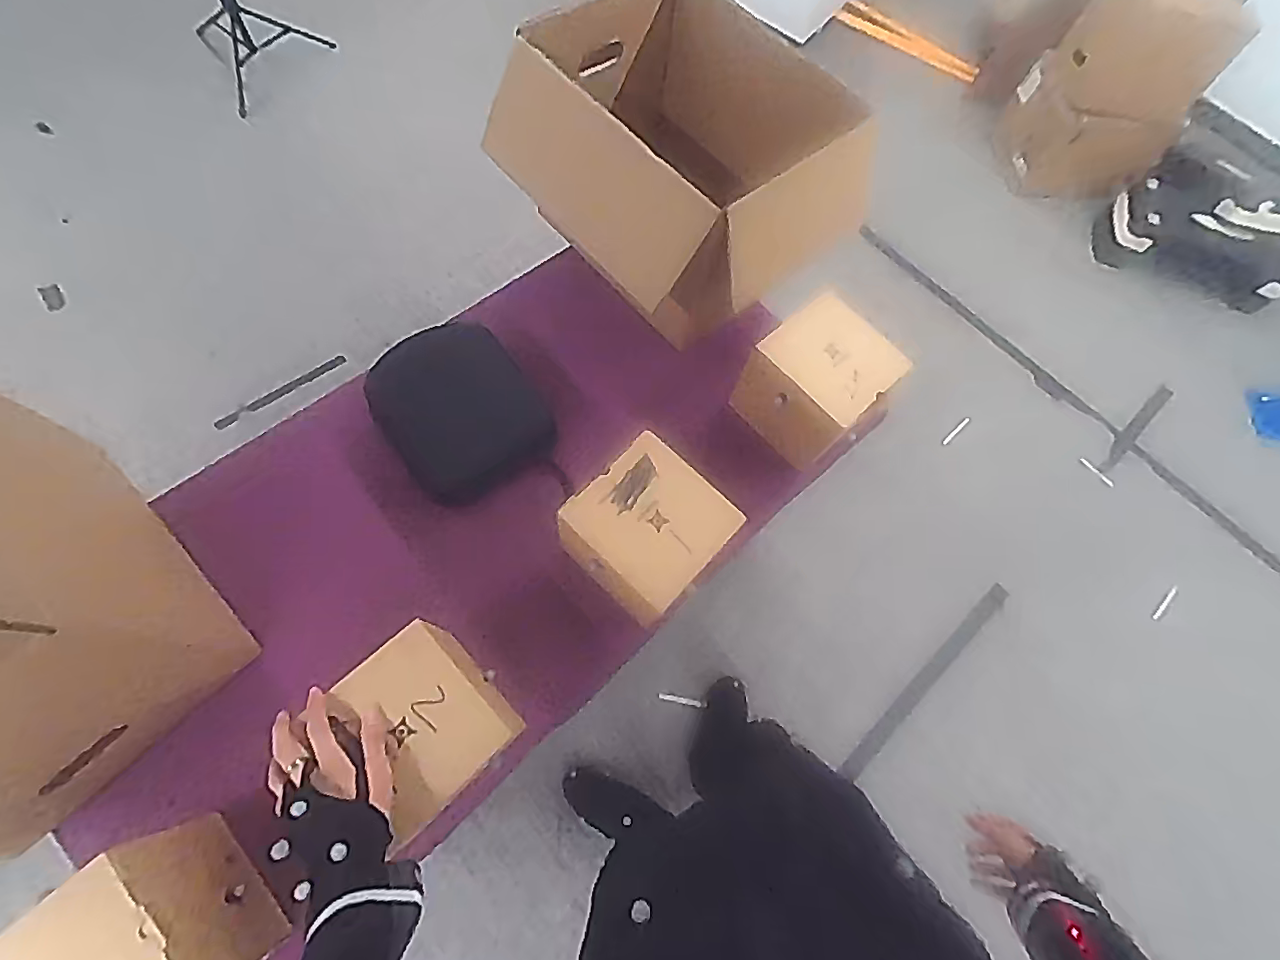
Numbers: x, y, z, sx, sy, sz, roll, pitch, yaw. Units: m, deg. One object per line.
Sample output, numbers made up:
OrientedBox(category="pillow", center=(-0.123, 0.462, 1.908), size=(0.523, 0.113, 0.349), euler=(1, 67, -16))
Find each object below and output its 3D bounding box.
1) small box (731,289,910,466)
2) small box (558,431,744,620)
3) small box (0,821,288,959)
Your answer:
OrientedBox(category="small box", center=(0.267, -0.151, 0.847), size=(0.168, 0.176, 0.179), euler=(-39, 77, -17))
OrientedBox(category="small box", center=(0.006, 0.072, 0.737), size=(0.179, 0.176, 0.168), euler=(43, 71, 10))
OrientedBox(category="small box", center=(-0.500, 0.480, 0.528), size=(0.179, 0.176, 0.168), euler=(-41, 78, -19))
